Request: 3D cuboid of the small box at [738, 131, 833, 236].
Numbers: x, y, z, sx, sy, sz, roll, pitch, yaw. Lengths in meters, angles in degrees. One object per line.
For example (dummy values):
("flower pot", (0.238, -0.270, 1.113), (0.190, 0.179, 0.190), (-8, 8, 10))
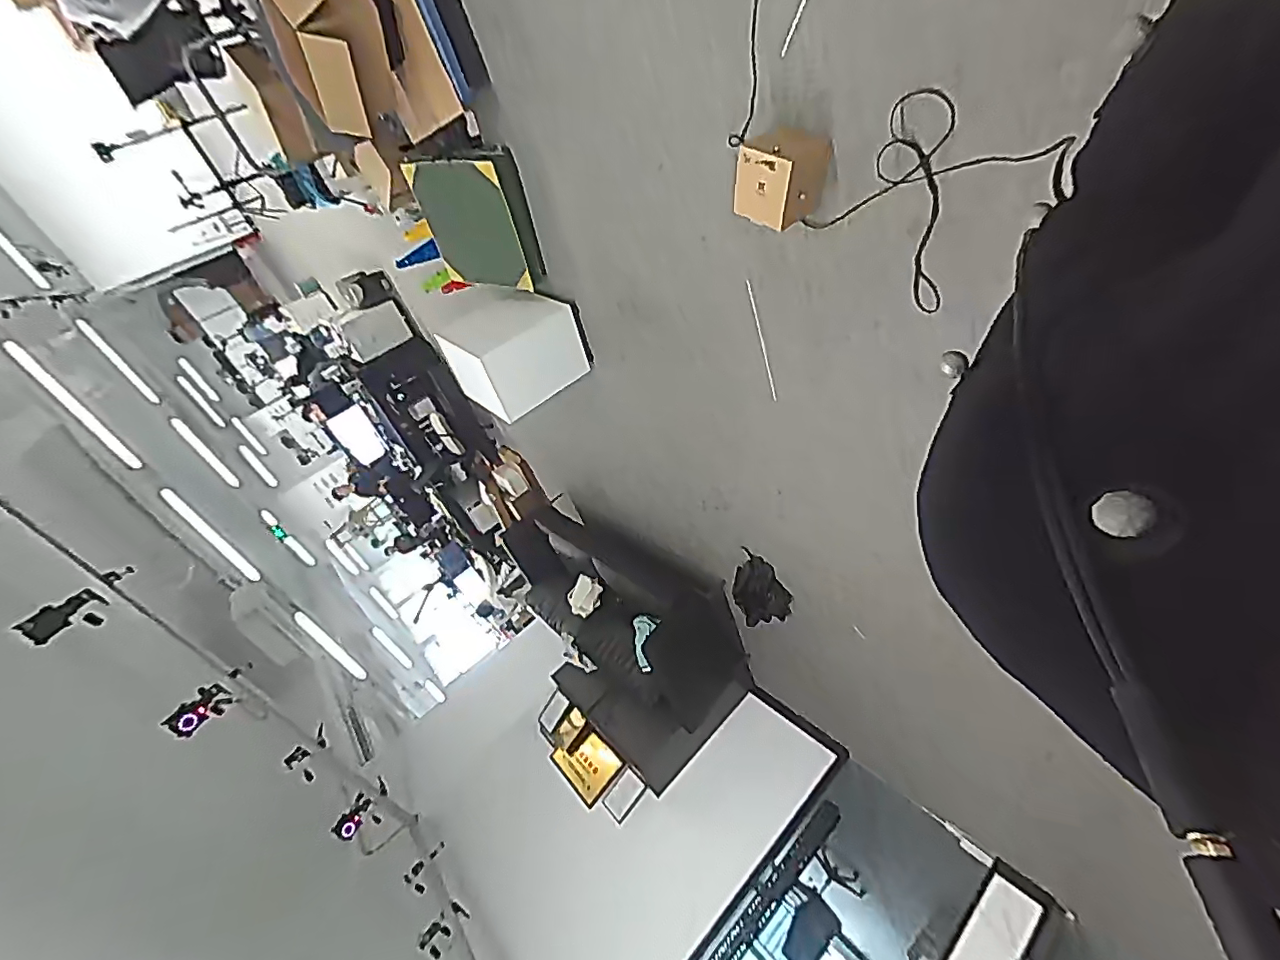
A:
("small box", (0.383, -0.788, 1.432), (0.168, 0.176, 0.179), (39, 153, 29))
